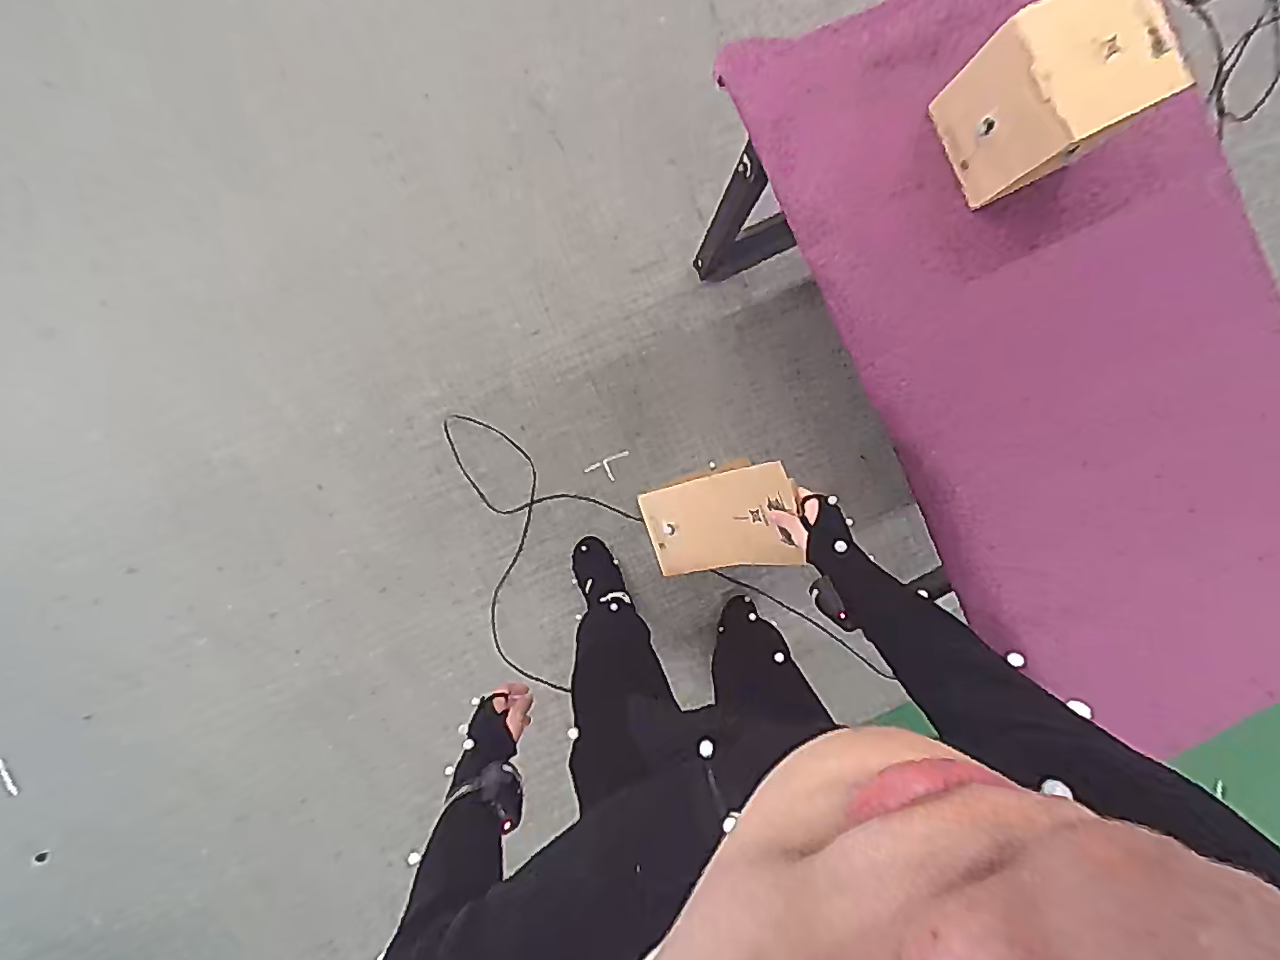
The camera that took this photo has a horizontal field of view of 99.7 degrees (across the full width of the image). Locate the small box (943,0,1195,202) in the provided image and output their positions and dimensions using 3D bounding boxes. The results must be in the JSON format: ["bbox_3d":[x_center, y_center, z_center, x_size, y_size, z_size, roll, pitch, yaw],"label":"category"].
[{"bbox_3d":[0.536,-0.504,0.708,0.179,0.176,0.168,-27,93,-2],"label":"small box"}]
